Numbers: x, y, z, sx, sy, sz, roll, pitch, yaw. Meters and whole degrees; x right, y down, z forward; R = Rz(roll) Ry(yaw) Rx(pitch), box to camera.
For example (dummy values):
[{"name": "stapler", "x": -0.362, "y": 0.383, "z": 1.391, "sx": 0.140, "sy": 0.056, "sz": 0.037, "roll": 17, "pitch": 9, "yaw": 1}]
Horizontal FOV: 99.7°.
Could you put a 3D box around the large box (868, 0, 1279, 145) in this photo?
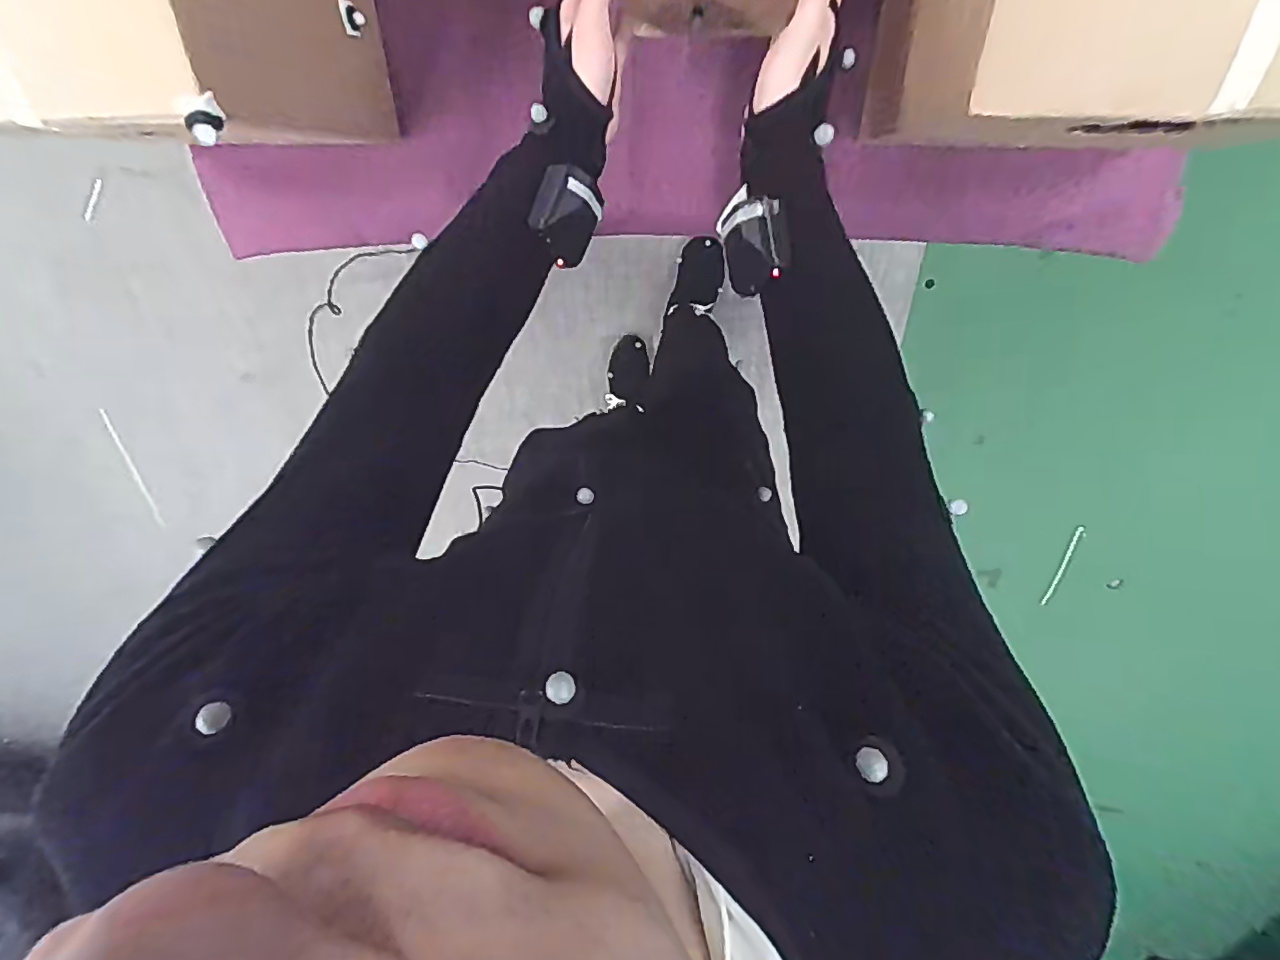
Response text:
[{"name": "large box", "x": 0.395, "y": -0.484, "z": 0.390, "sx": 0.320, "sy": 0.320, "sz": 0.408, "roll": 3, "pitch": 120, "yaw": 6}]

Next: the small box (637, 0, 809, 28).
[{"name": "small box", "x": 0.070, "y": -0.494, "z": 0.426, "sx": 0.168, "sy": 0.176, "sz": 0.179, "roll": 4, "pitch": 116, "yaw": 6}]
